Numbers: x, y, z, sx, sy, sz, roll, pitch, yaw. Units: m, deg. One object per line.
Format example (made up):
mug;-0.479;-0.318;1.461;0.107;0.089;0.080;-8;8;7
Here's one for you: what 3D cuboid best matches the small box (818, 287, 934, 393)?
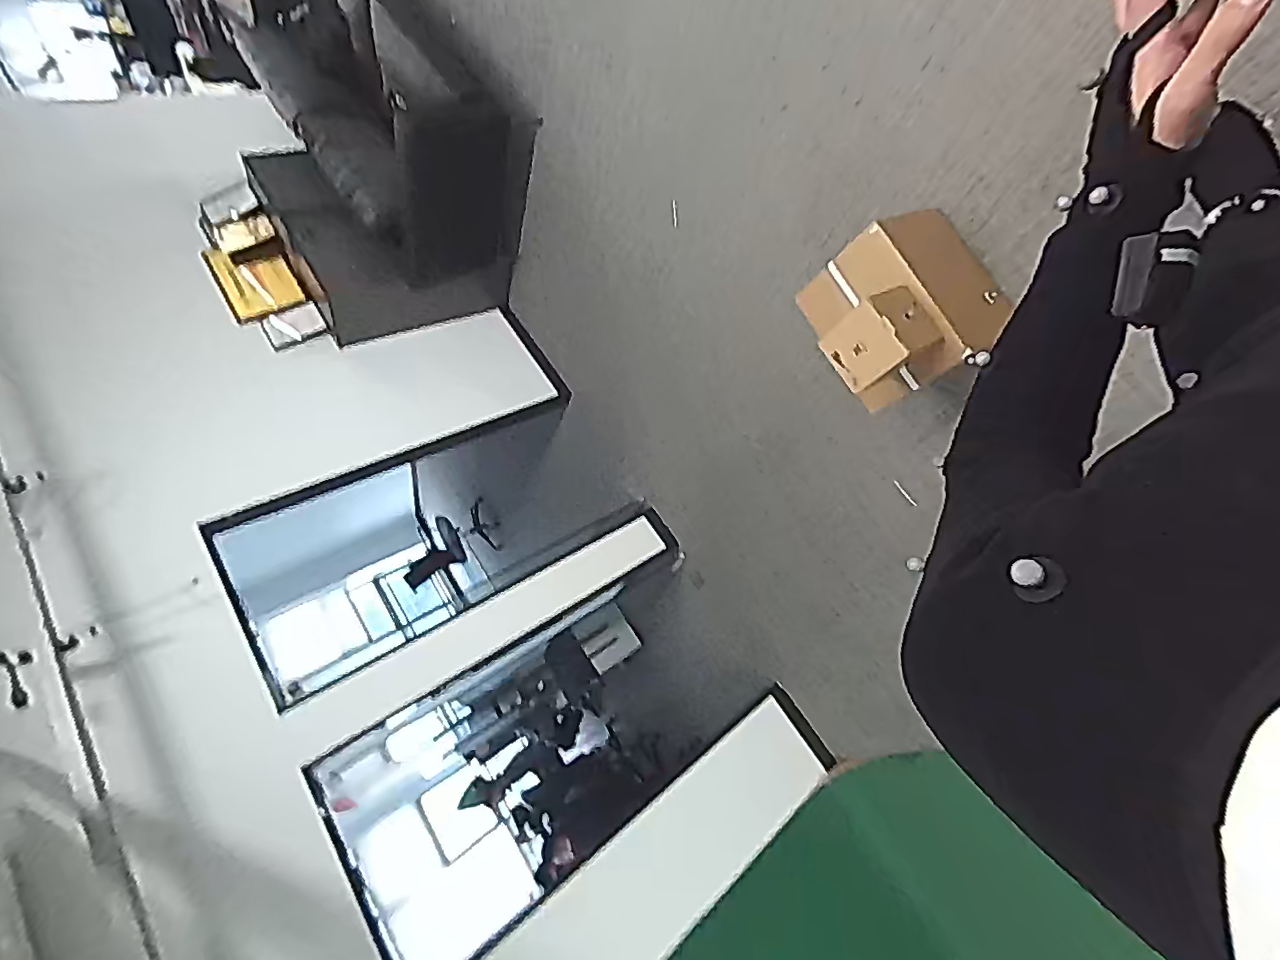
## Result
small box;0.582;-0.345;1.320;0.168;0.176;0.179;57;147;10
